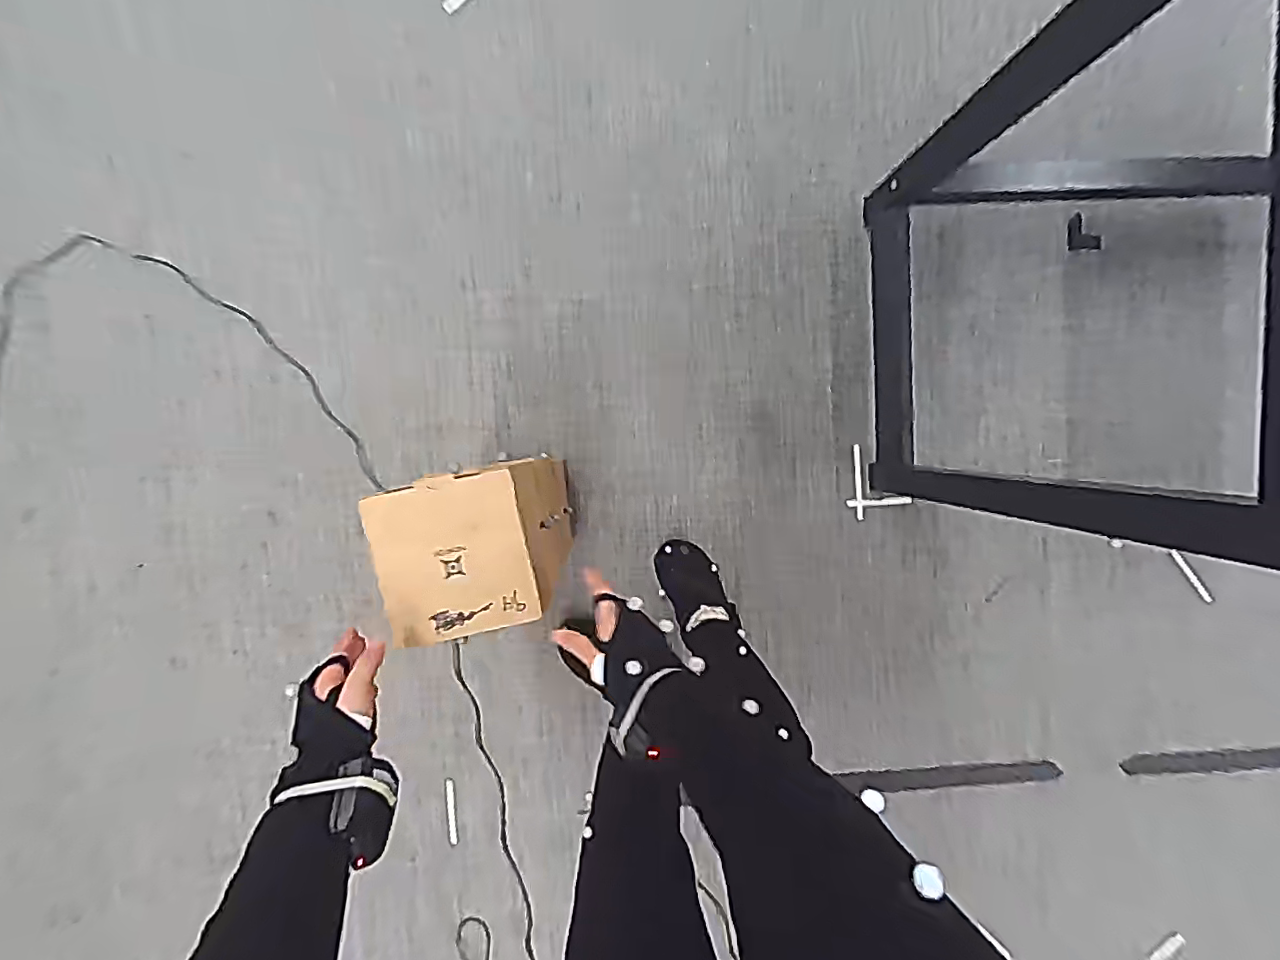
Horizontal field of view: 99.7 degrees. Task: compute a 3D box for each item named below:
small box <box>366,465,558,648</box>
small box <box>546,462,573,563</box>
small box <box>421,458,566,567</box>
[{"bbox_3d":[-0.205,0.081,0.670,0.168,0.176,0.179,-12,94,-2],"label":"small box"},{"bbox_3d":[-0.218,0.060,0.995,0.168,0.176,0.179,-7,95,-2],"label":"small box"},{"bbox_3d":[-0.213,0.065,0.833,0.168,0.176,0.179,-10,93,-3],"label":"small box"}]
